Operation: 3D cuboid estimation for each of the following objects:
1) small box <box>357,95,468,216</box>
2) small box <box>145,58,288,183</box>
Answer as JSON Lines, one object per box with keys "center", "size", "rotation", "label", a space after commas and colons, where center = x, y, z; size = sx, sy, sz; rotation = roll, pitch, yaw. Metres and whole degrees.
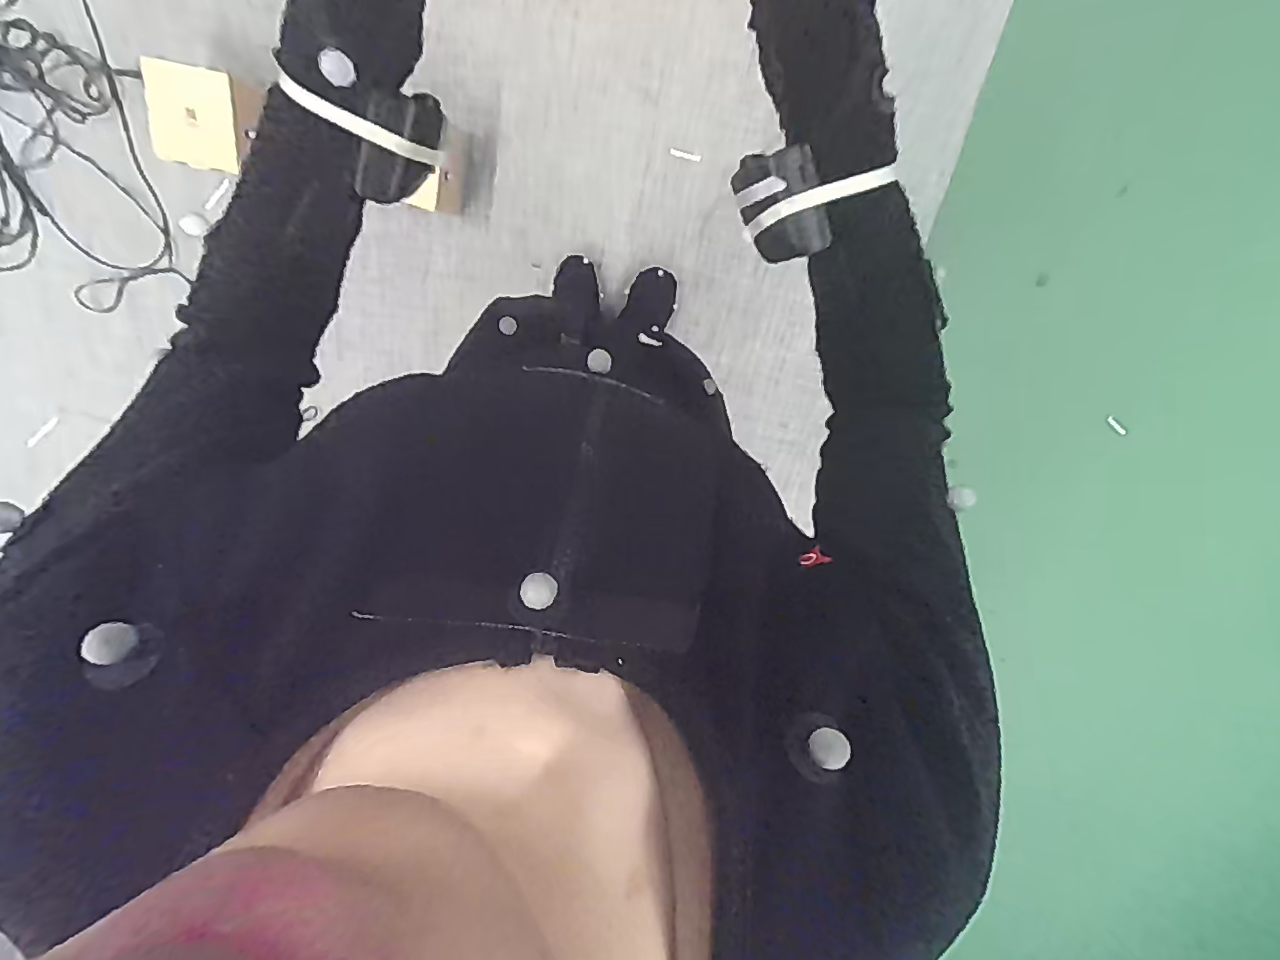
{"center": [-0.483, -0.685, 1.165], "size": [0.168, 0.176, 0.179], "rotation": [14, 112, -5], "label": "small box"}
{"center": [-0.880, -0.747, 1.143], "size": [0.168, 0.176, 0.179], "rotation": [9, 114, -3], "label": "small box"}
